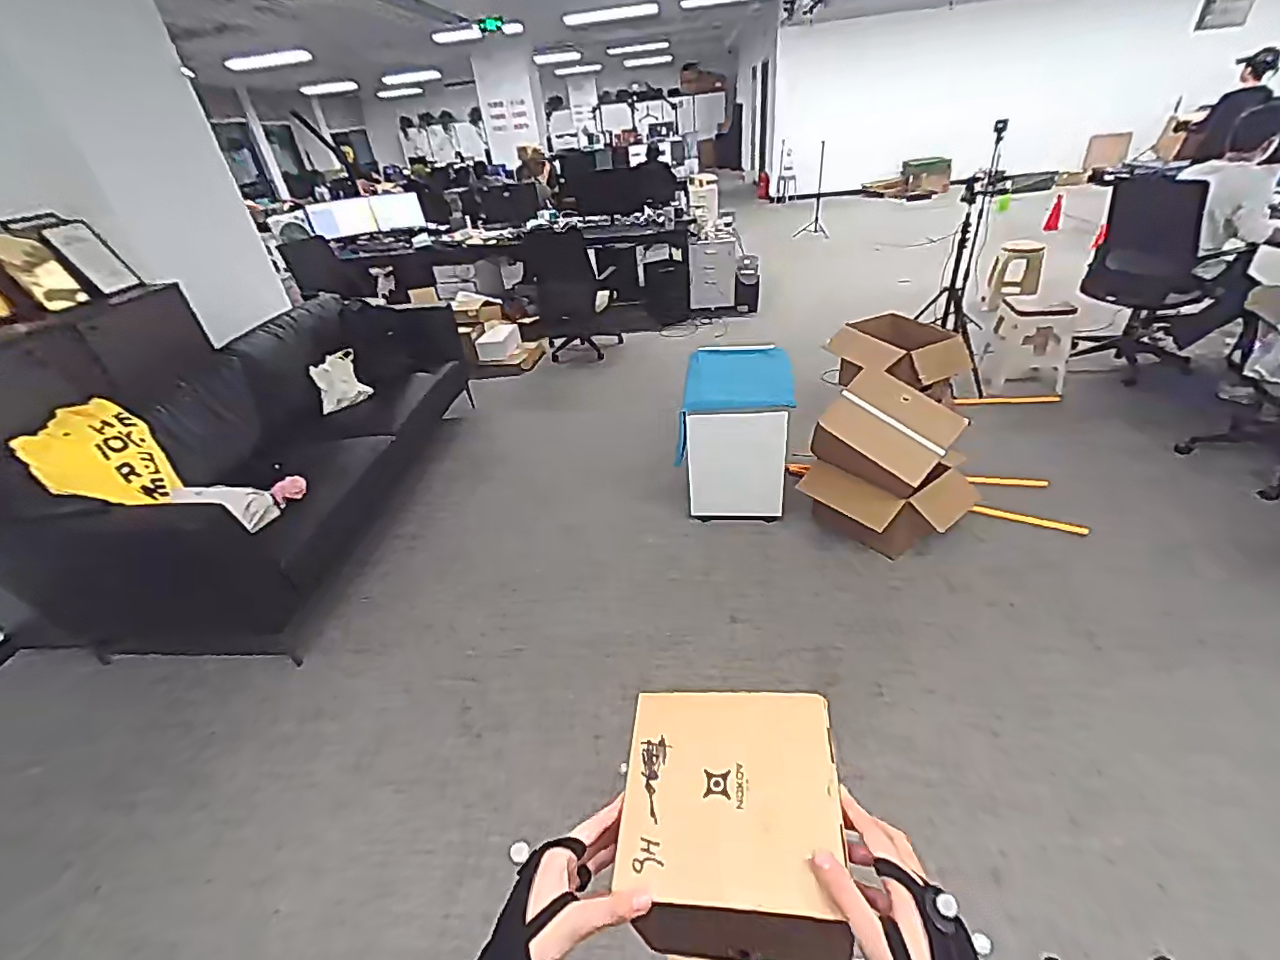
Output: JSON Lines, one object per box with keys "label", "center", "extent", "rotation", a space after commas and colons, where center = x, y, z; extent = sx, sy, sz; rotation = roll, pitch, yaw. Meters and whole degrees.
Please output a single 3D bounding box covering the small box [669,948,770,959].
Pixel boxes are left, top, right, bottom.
{"label": "small box", "center": [0.142, 0.937, 0.925], "extent": [0.179, 0.176, 0.168], "rotation": [-3, 34, 7]}
